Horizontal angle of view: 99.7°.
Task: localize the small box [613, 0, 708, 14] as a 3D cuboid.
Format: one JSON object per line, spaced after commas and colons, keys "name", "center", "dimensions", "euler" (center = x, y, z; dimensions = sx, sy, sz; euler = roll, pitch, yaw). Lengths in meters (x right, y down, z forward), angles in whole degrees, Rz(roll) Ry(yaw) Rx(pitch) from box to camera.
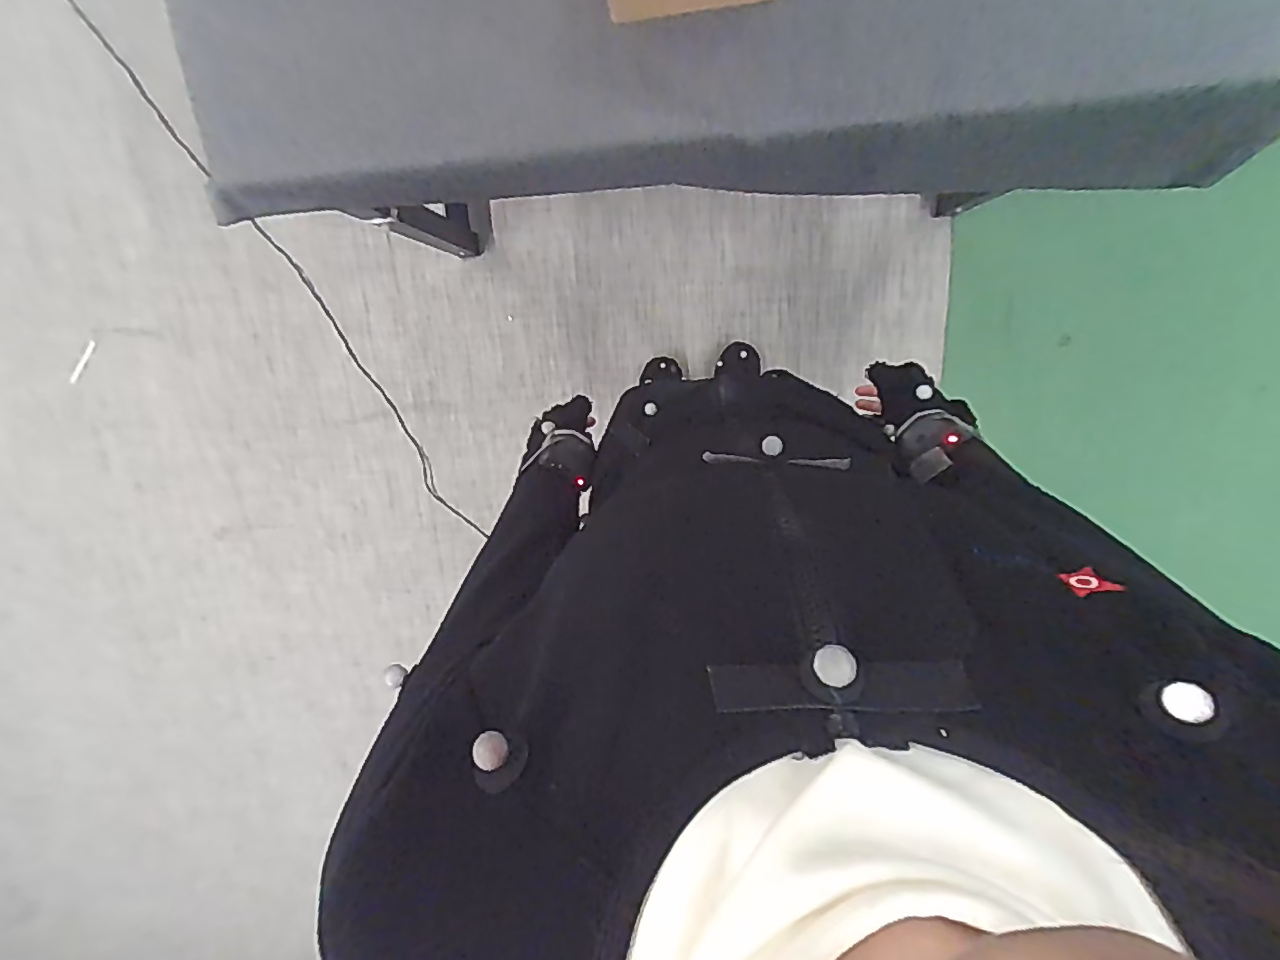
{"name": "small box", "center": [0.046, -0.546, 0.457], "dimensions": [0.179, 0.176, 0.168], "euler": [-8, 105, 4]}
